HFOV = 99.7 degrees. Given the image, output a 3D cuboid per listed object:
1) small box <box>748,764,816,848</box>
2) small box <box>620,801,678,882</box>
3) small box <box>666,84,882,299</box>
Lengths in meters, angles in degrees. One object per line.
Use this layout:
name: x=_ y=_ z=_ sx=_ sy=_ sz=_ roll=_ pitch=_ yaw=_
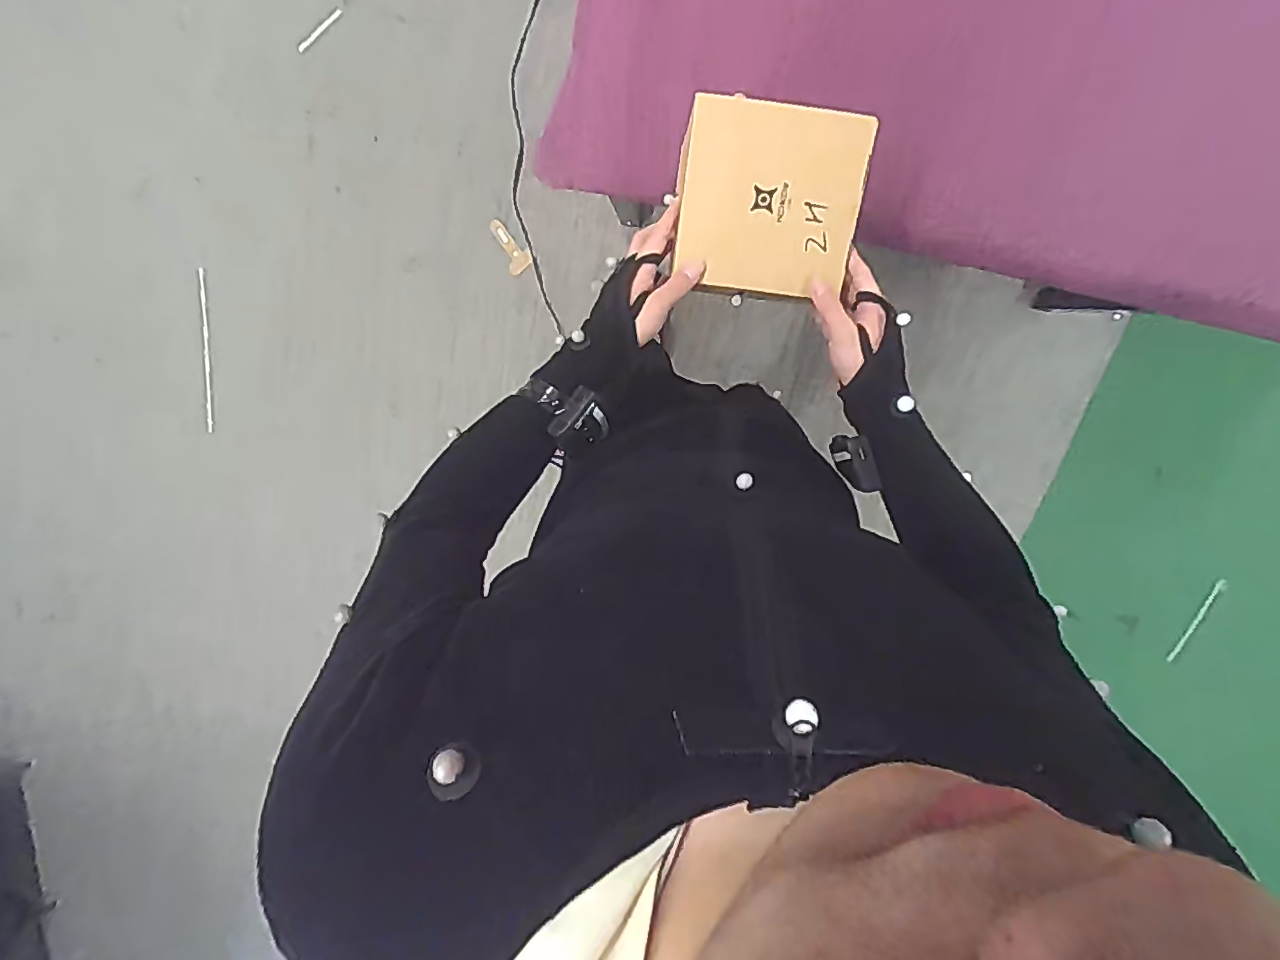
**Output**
small box: x=0.490 y=1.139 z=1.900 sx=0.168 sy=0.176 sz=0.179 roll=14 pitch=109 yaw=-2
small box: x=0.034 y=1.313 z=1.973 sx=0.179 sy=0.176 sz=0.168 roll=13 pitch=109 yaw=-3
small box: x=0.126 y=-0.295 z=0.592 sx=0.179 sy=0.176 sz=0.168 roll=8 pitch=108 yaw=-2
